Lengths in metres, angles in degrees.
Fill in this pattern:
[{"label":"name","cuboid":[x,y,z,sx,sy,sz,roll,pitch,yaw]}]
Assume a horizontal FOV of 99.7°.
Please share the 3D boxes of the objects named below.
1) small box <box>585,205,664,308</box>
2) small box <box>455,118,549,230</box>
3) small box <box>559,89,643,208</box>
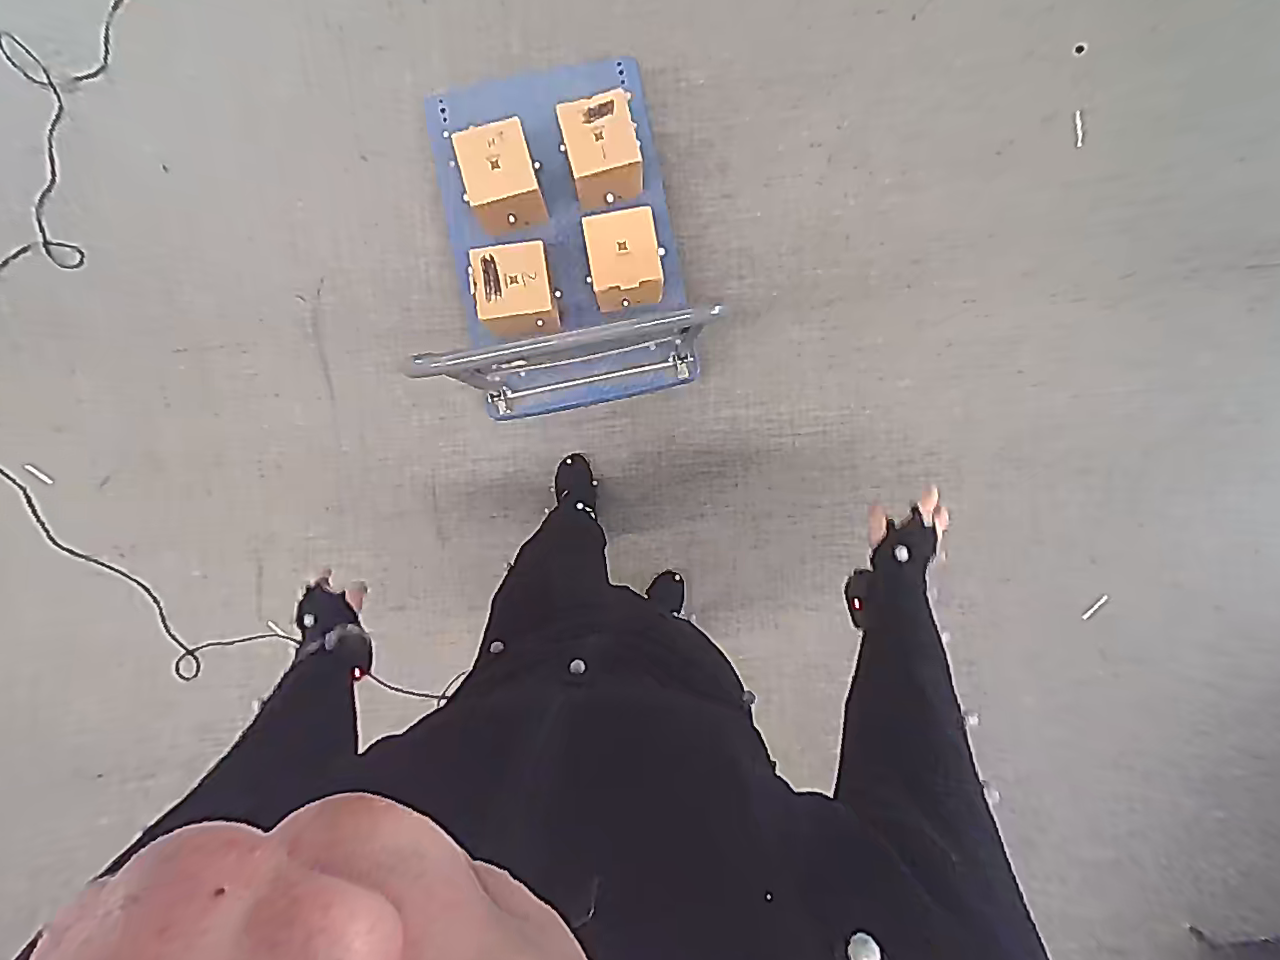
[{"label":"small box","cuboid":[-0.038,-0.552,1.353,0.168,0.176,0.179,-11,91,0]},{"label":"small box","cuboid":[-0.336,-0.749,1.349,0.168,0.176,0.179,-15,91,-1]},{"label":"small box","cuboid":[-0.094,-0.817,1.347,0.168,0.176,0.179,-15,92,1]}]
